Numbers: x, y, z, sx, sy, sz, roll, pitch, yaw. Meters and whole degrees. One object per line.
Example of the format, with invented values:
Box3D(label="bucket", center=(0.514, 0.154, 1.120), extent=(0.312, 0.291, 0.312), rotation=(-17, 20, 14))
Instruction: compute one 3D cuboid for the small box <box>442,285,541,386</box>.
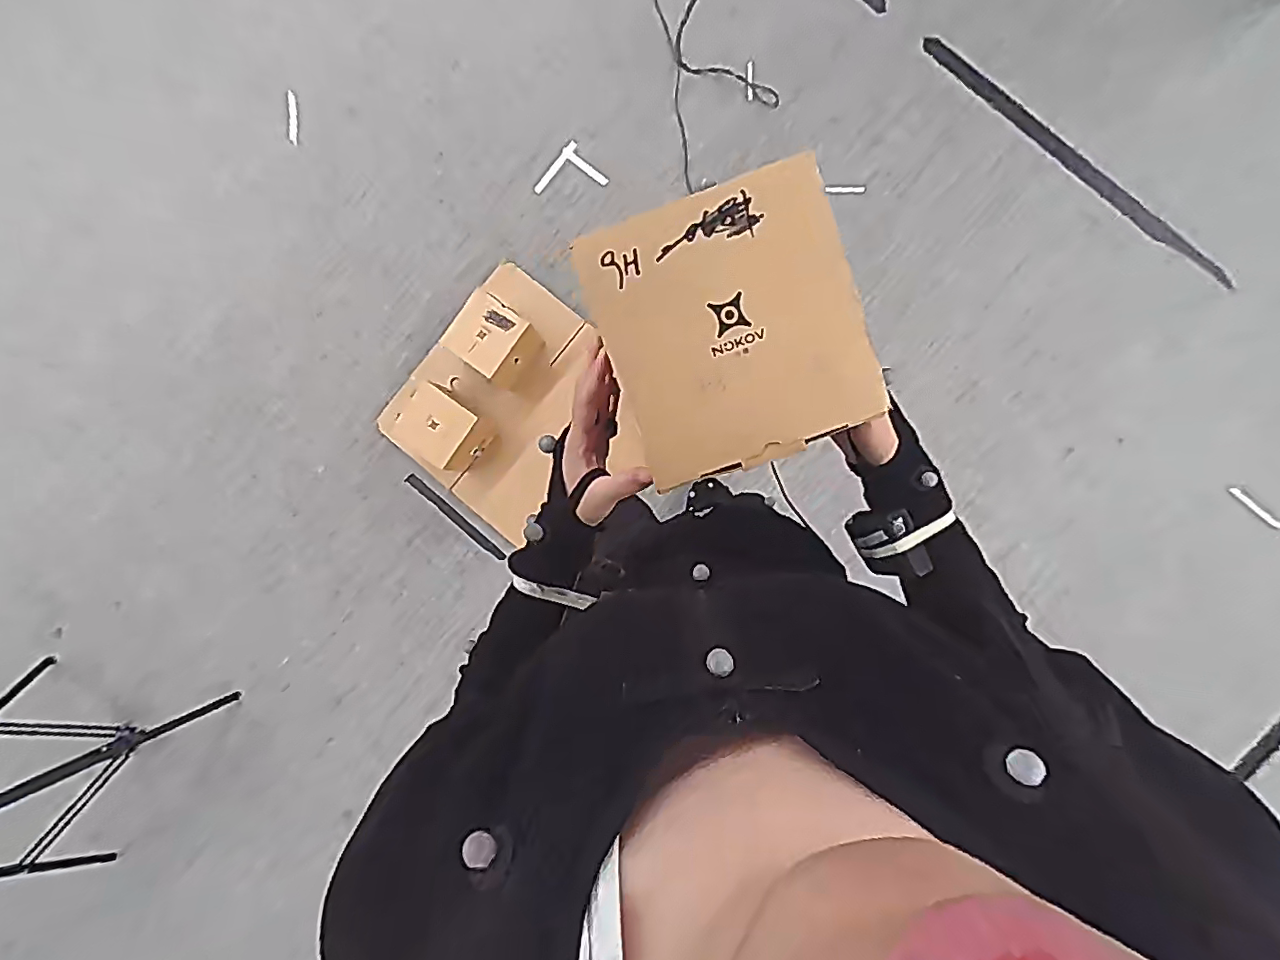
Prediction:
Box3D(label="small box", center=(-0.379, -0.373, 1.426), extent=(0.168, 0.176, 0.179), rotation=(36, 92, 3))

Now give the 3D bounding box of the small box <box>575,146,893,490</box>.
Box3D(label="small box", center=(0.064, -0.111, 0.423), extent=(0.168, 0.176, 0.179), rotation=(-19, 98, 4))

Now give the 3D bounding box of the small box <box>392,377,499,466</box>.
Box3D(label="small box", center=(-0.508, -0.146, 1.434), extent=(0.179, 0.176, 0.168), rotation=(34, 93, 2))
